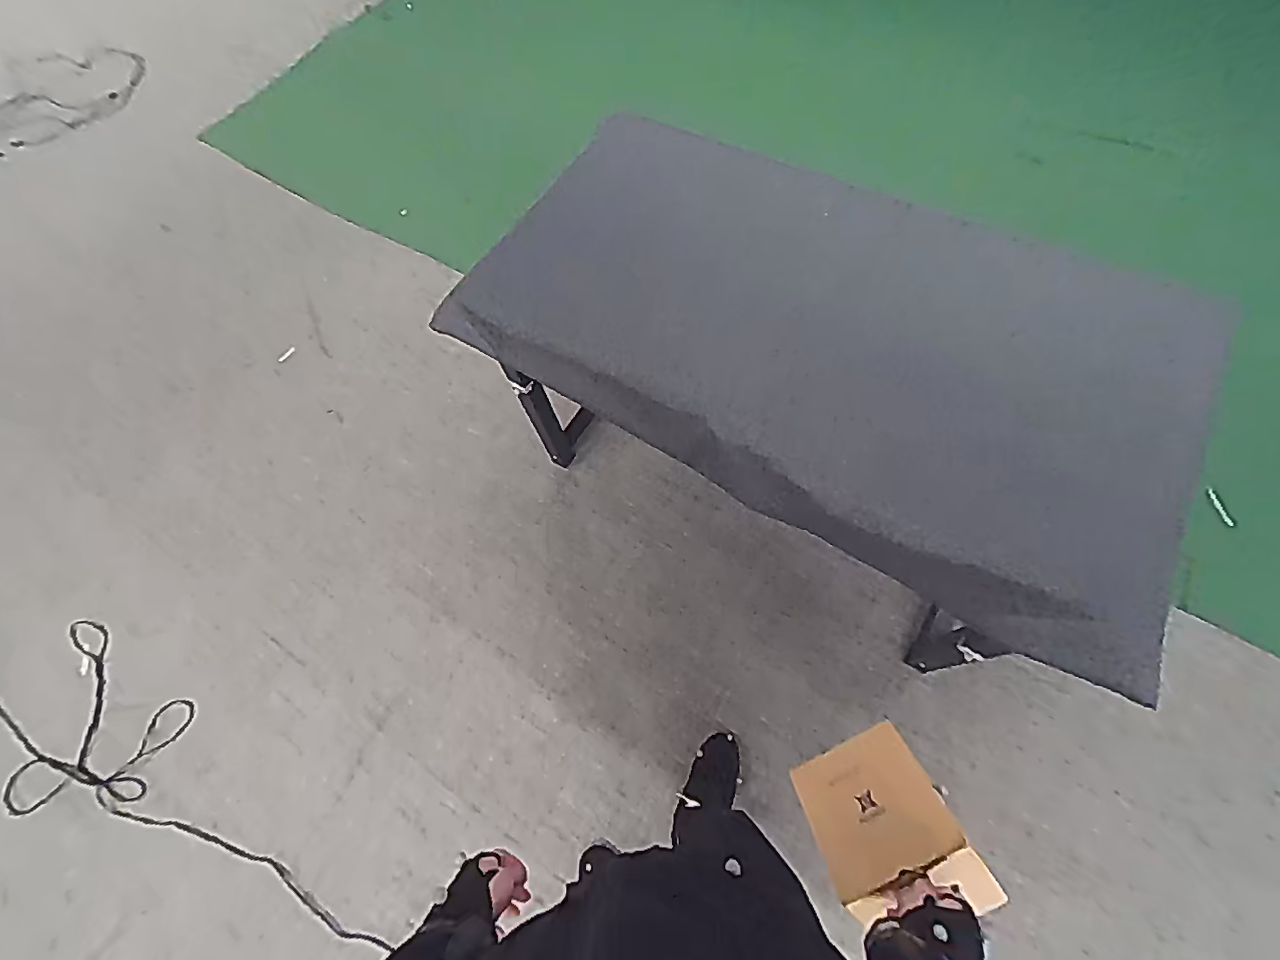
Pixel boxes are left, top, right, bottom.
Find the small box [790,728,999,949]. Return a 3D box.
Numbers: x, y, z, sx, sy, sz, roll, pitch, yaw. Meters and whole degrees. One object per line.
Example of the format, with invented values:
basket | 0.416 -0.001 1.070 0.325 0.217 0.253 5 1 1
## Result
small box | 0.338 0.485 0.728 0.168 0.176 0.179 -33 24 9
